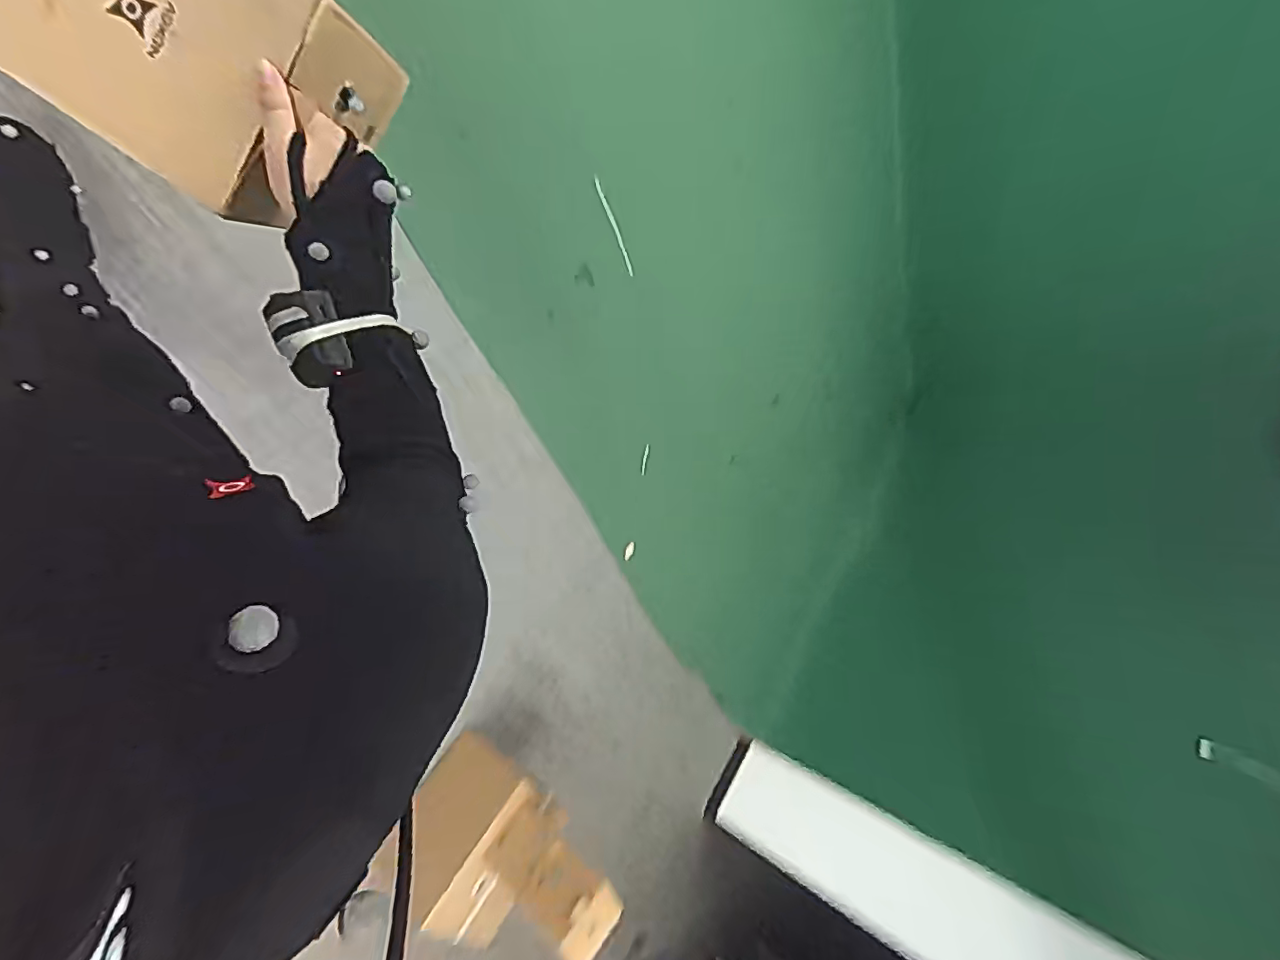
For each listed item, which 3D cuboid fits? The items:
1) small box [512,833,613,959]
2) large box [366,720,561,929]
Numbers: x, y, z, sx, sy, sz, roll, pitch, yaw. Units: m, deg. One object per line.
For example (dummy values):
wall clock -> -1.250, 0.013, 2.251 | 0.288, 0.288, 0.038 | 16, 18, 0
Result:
small box -> -0.200, 1.065, 1.397 | 0.168, 0.176, 0.179 | -39, 129, -35
large box -> -0.524, 1.029, 1.647 | 0.408, 0.320, 0.320 | -51, 134, -25
